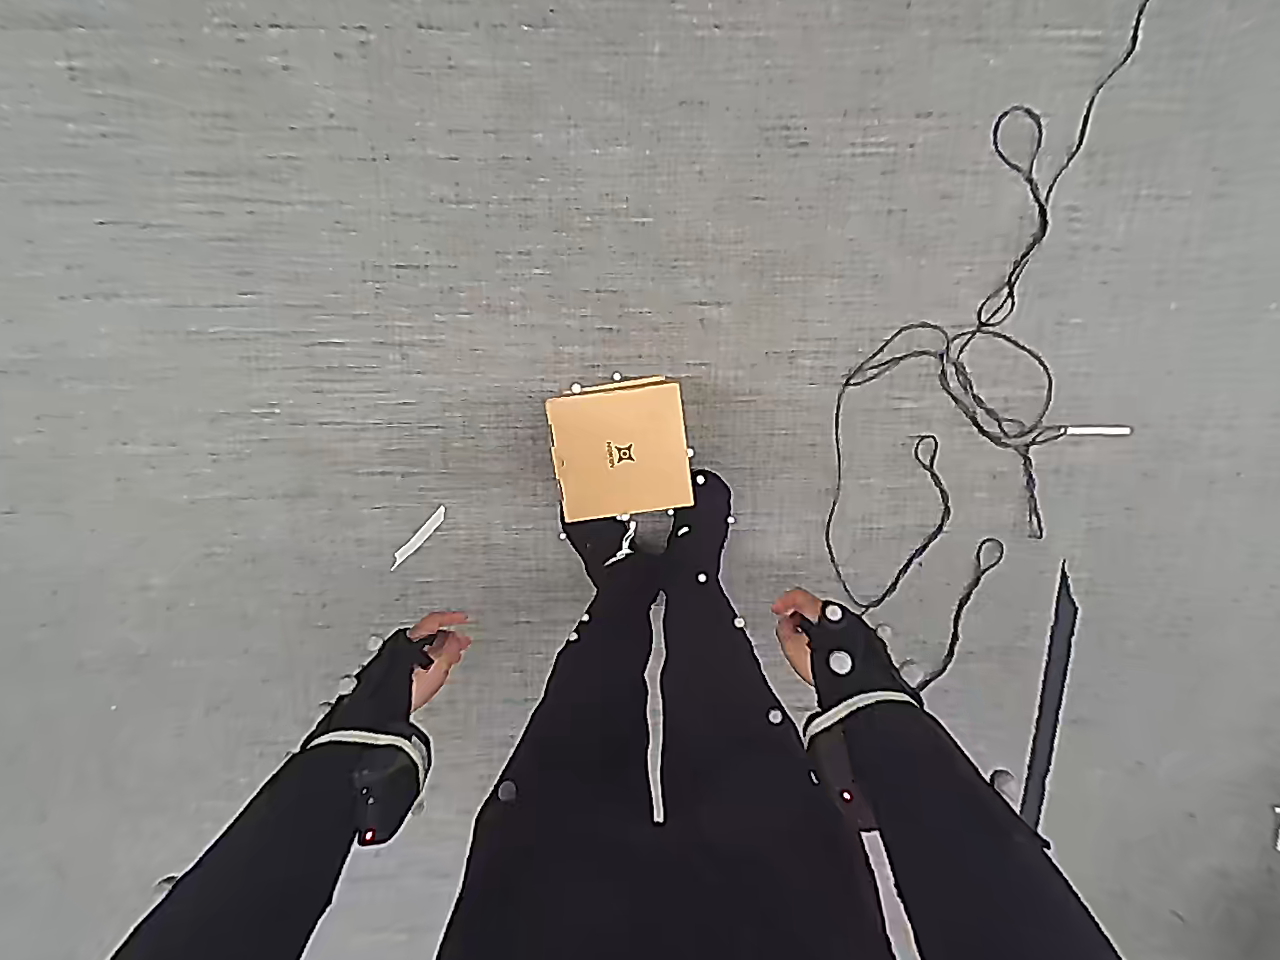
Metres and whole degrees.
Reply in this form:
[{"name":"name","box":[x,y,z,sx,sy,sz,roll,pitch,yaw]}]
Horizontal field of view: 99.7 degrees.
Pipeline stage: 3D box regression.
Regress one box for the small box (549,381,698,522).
[{"name":"small box","box":[-0.022,-0.050,0.777,0.179,0.176,0.168,-8,101,1]}]
